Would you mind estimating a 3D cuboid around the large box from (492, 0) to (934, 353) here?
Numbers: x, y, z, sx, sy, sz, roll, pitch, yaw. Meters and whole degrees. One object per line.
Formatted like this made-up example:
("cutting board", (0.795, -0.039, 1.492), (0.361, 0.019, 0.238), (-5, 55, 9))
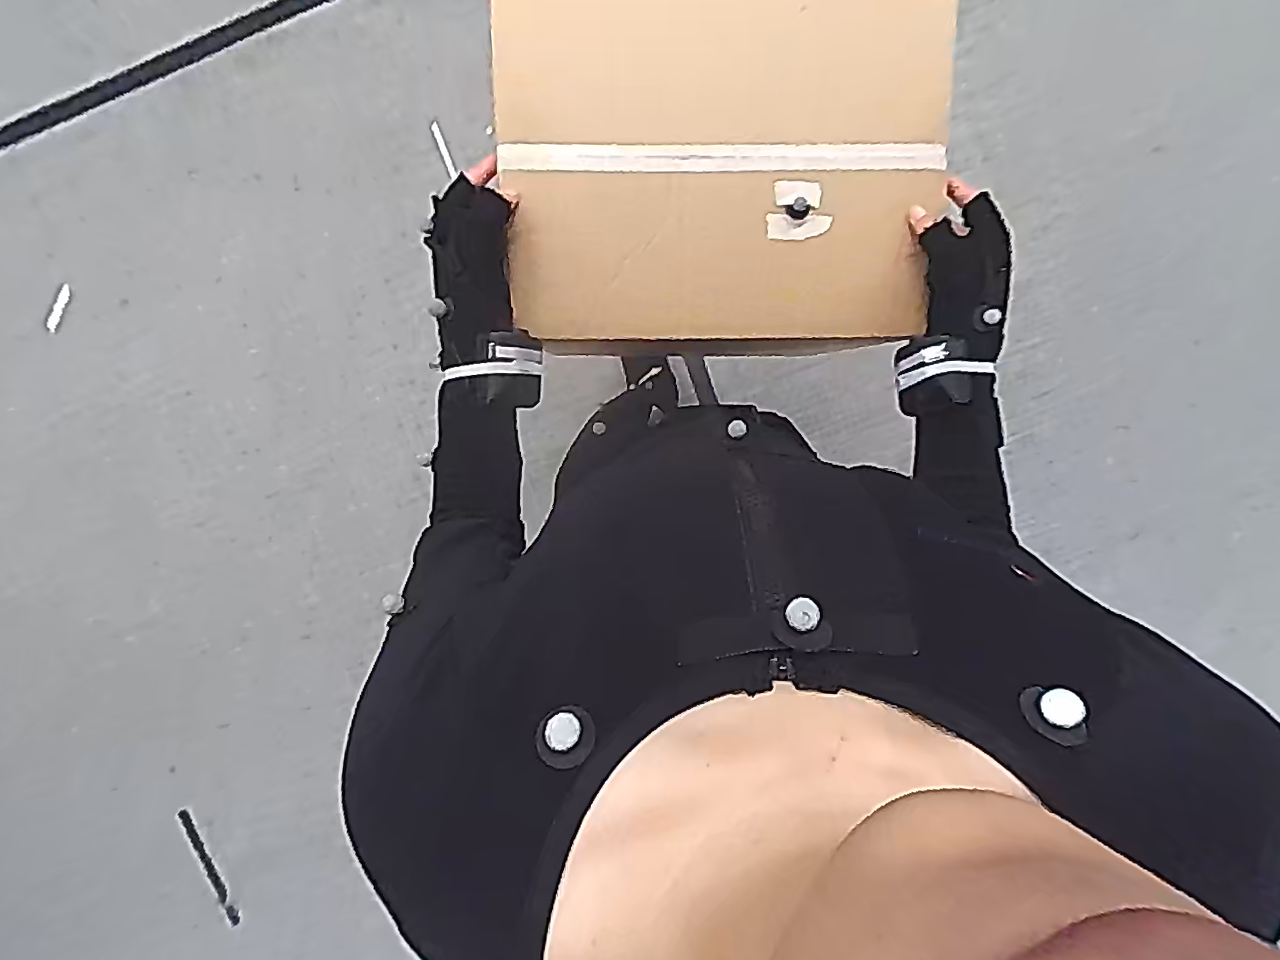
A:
("large box", (0.063, -0.325, 0.646), (0.408, 0.320, 0.320), (-1, 100, -2))
